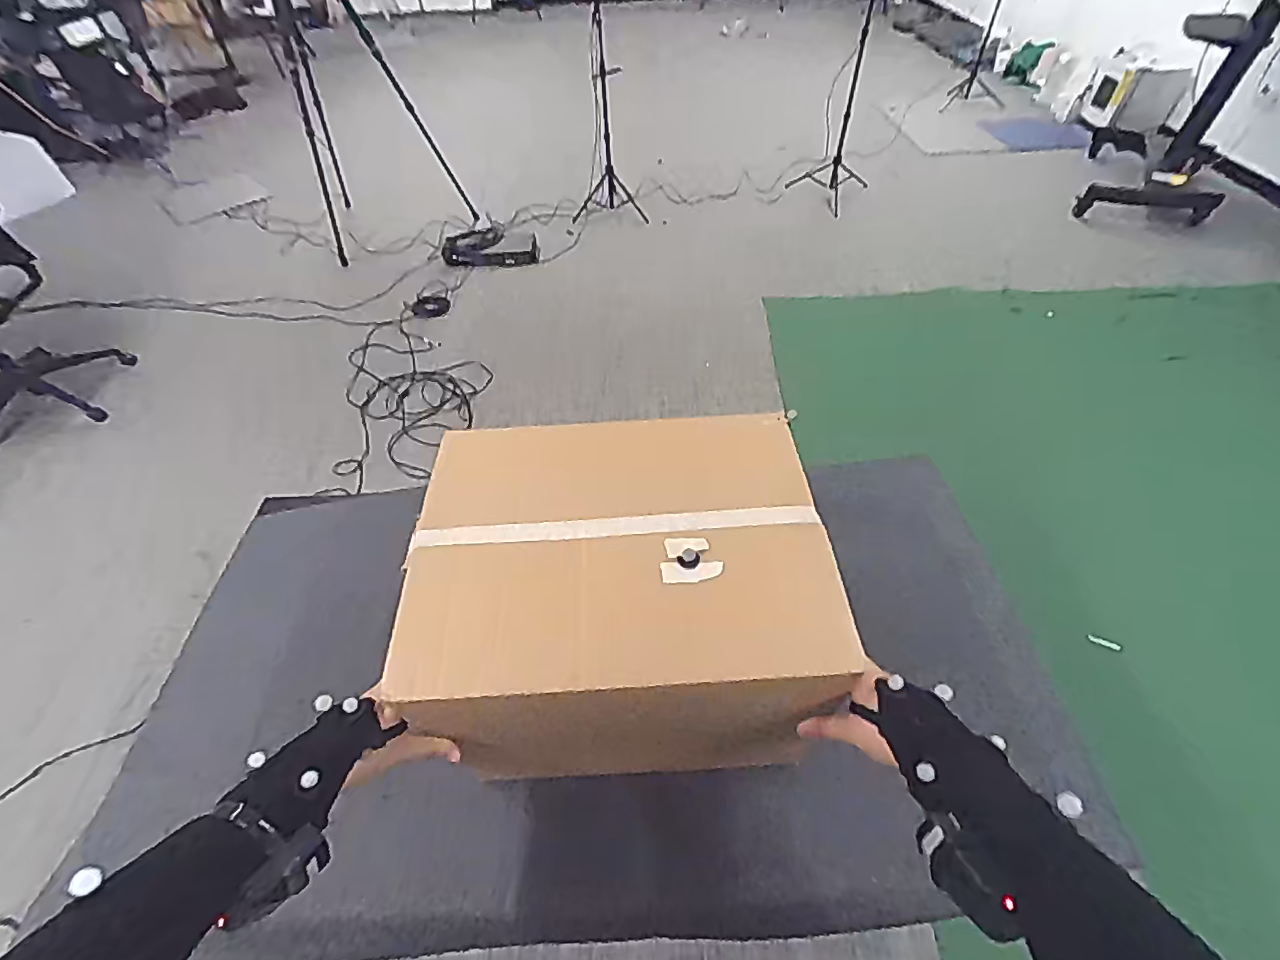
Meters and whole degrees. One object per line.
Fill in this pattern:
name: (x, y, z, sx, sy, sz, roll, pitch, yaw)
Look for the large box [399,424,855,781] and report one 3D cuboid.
large box: (-0.017, 0.156, 0.671, 0.408, 0.320, 0.320, -3, 50, -1)
